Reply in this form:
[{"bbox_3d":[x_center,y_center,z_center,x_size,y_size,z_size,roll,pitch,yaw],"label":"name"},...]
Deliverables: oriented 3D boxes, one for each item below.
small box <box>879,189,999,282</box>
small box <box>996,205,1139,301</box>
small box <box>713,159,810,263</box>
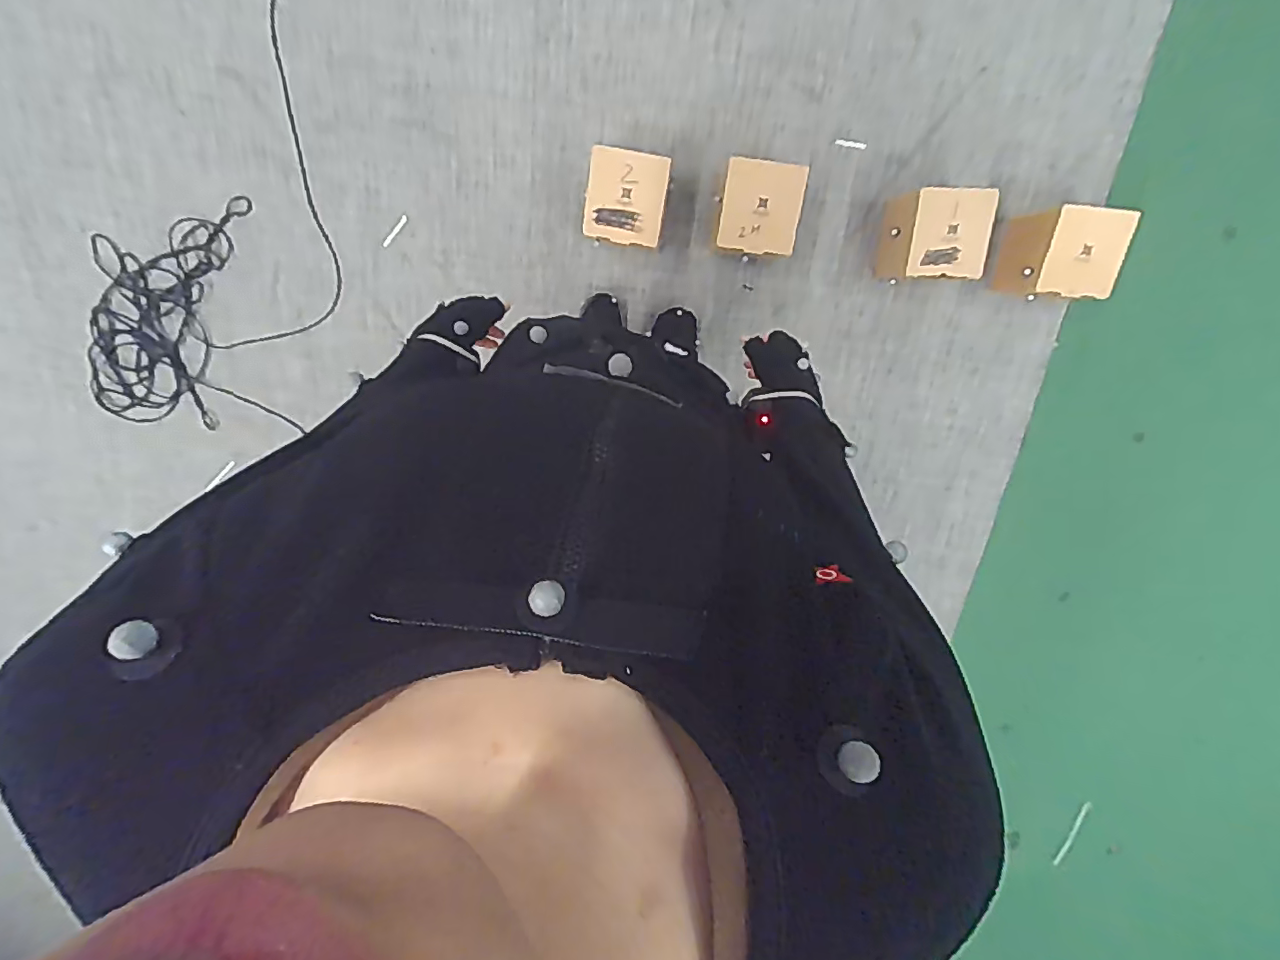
[{"bbox_3d":[0.659,-0.541,1.217,0.168,0.176,0.179,2,108,1],"label":"small box"},{"bbox_3d":[0.950,-0.506,1.224,0.168,0.176,0.179,6,109,0],"label":"small box"},{"bbox_3d":[0.260,-0.592,1.208,0.168,0.176,0.179,7,110,0],"label":"small box"}]
